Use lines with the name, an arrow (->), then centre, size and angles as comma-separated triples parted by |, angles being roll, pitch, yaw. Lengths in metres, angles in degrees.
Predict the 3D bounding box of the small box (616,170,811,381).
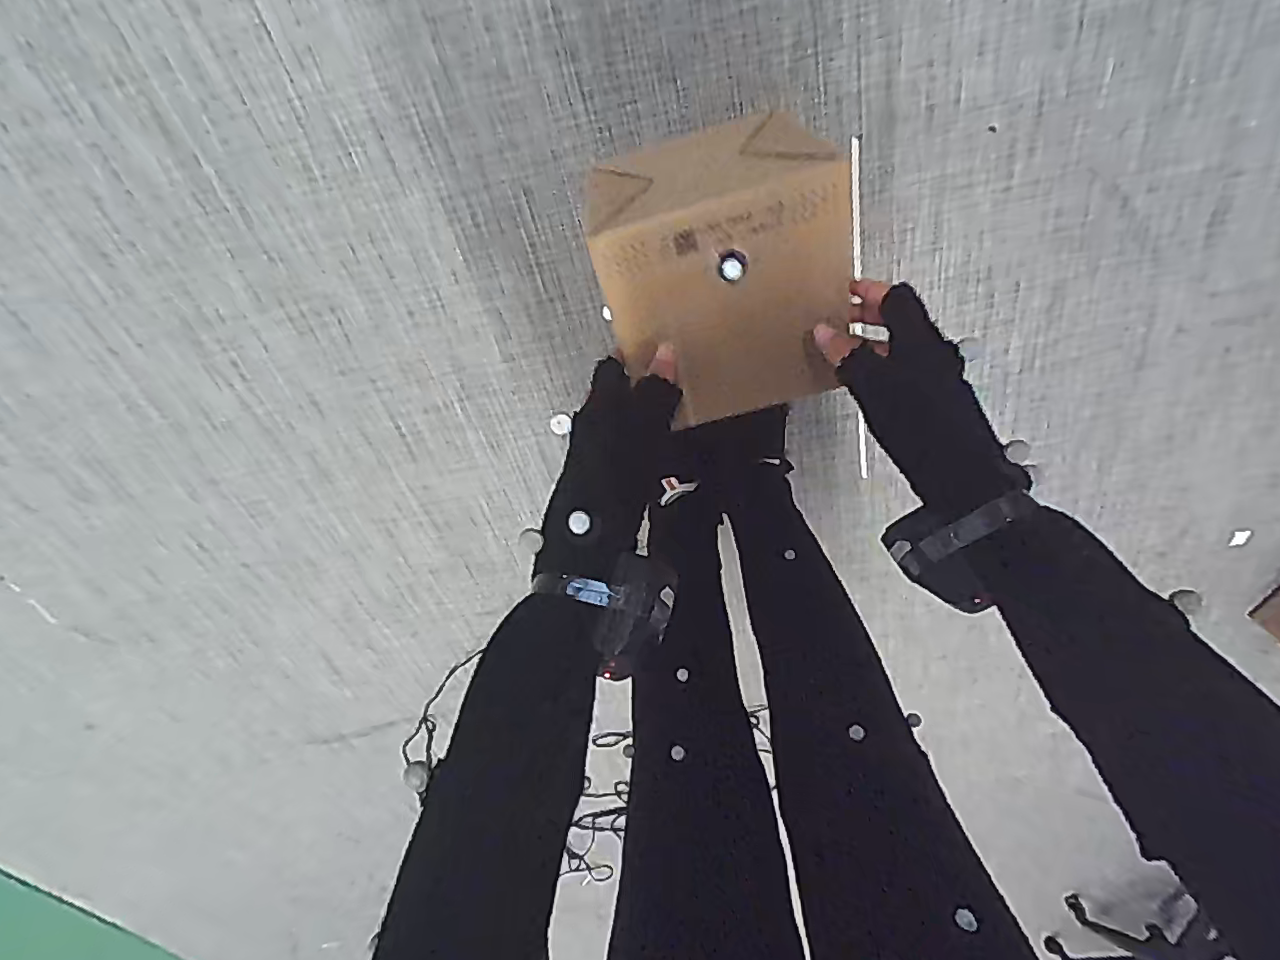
small box -> 0.079, -0.241, 0.624 | 0.179, 0.176, 0.168 | -15, 121, 10
